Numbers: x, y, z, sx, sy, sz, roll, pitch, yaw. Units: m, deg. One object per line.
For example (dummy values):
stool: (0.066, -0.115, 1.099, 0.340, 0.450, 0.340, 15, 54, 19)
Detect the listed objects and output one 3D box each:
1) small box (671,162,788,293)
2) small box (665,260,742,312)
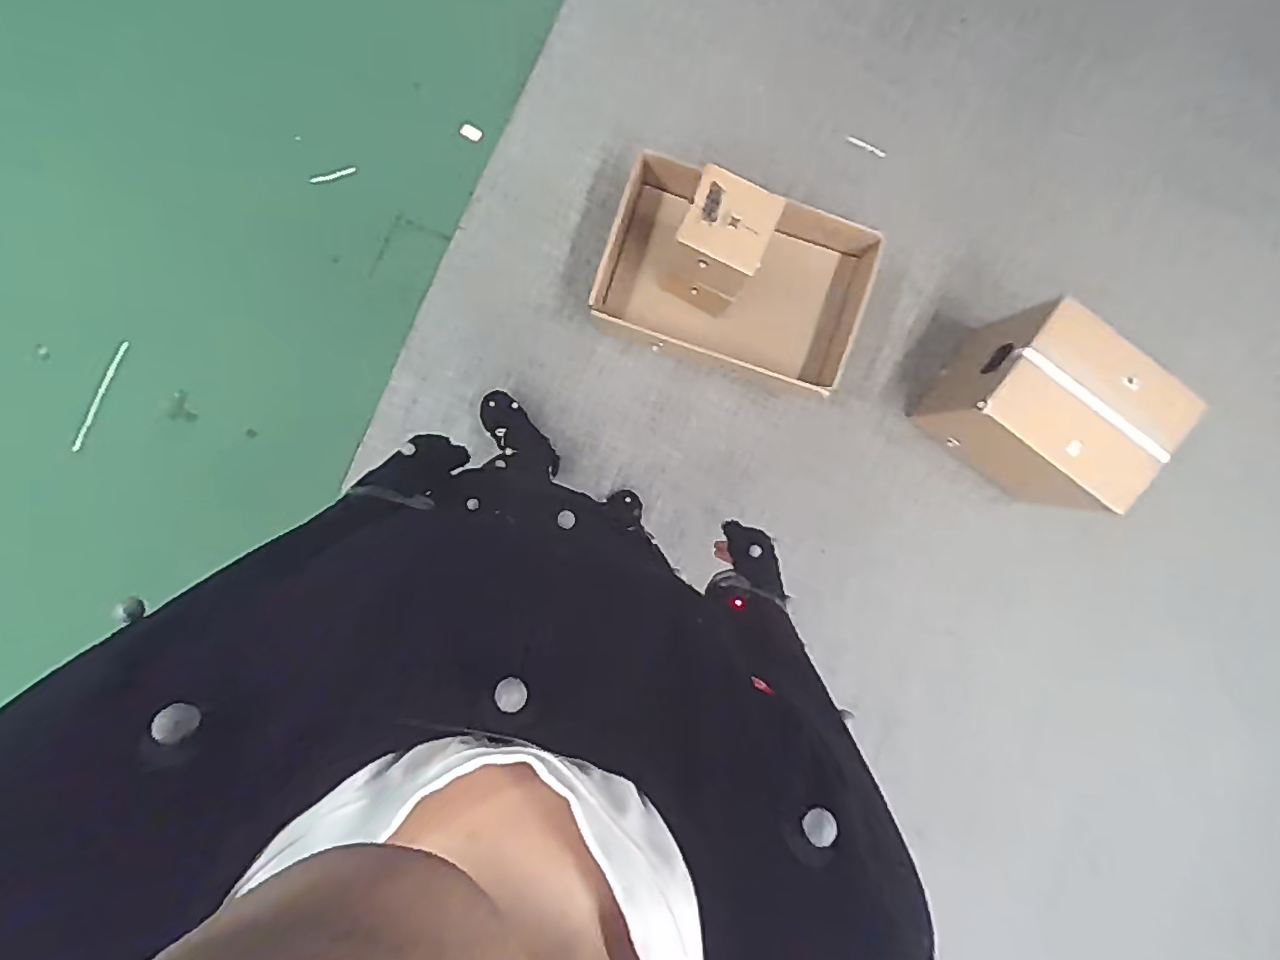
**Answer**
small box: (0.179, -0.524, 1.153, 0.179, 0.176, 0.168, 25, 92, -5)
small box: (0.173, -0.532, 1.317, 0.179, 0.176, 0.168, 25, 92, -5)
